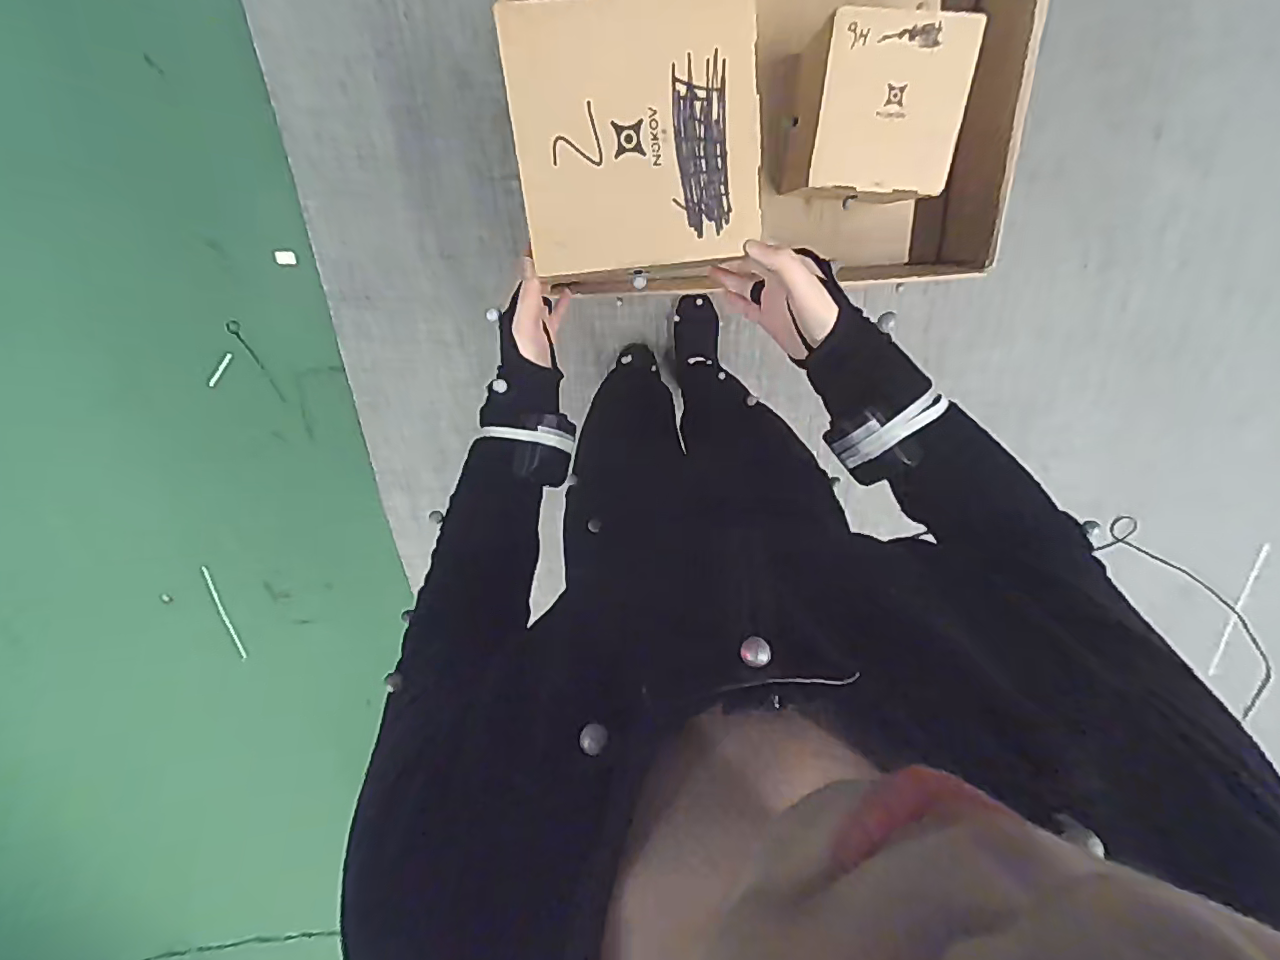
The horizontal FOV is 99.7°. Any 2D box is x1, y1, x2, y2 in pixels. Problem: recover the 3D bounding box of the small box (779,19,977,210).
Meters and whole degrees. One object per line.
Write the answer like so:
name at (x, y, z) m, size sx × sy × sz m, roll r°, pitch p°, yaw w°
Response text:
small box at (0.287, -0.454, 0.701) m, size 0.168 × 0.176 × 0.179 m, roll 4°, pitch 114°, yaw -1°
